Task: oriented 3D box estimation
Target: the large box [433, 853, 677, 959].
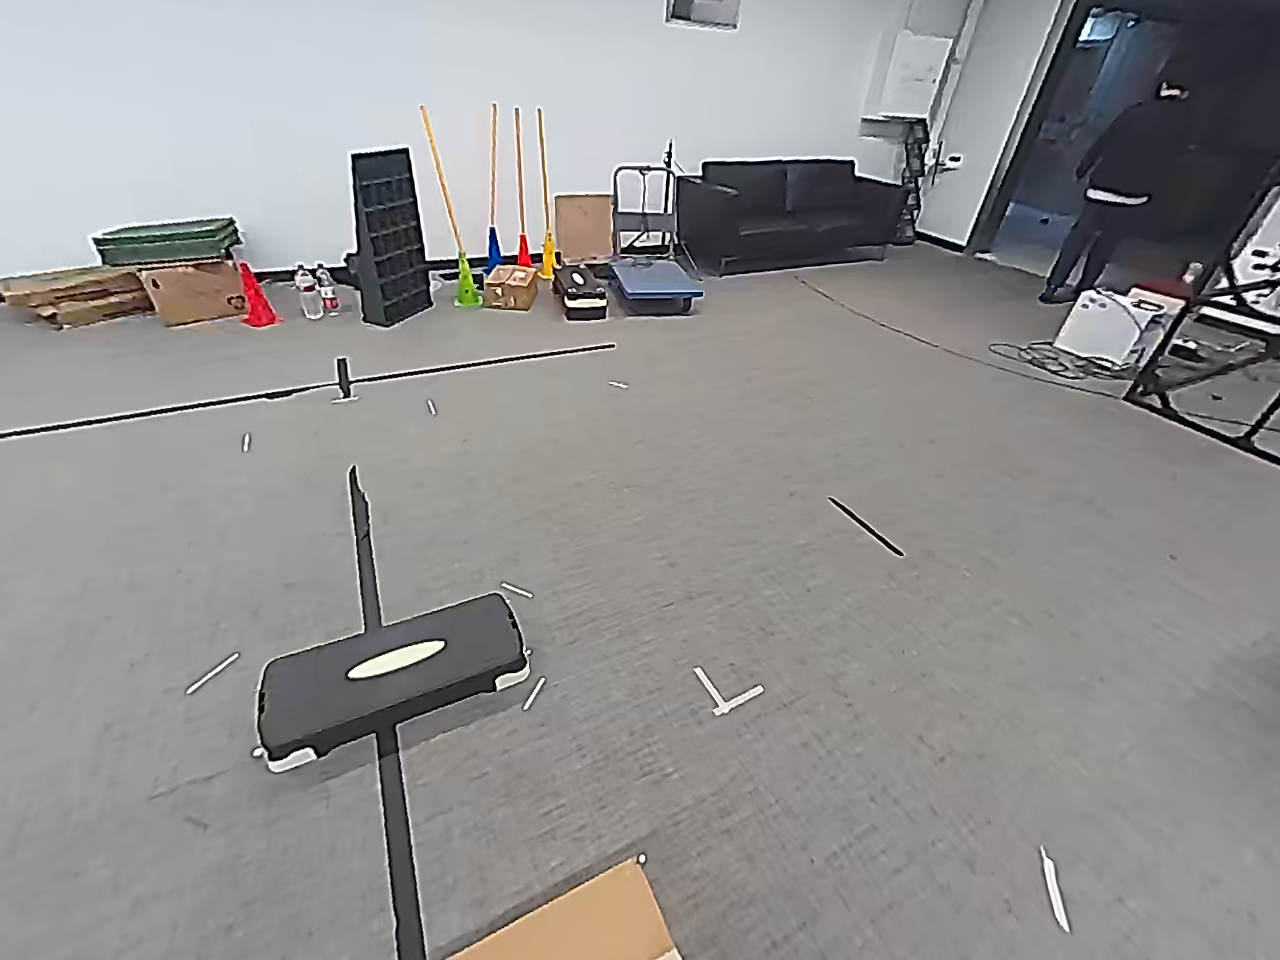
[{"bbox_3d":[-0.136,0.915,0.868,0.408,0.320,0.320,-13,40,-24],"label":"large box"}]
